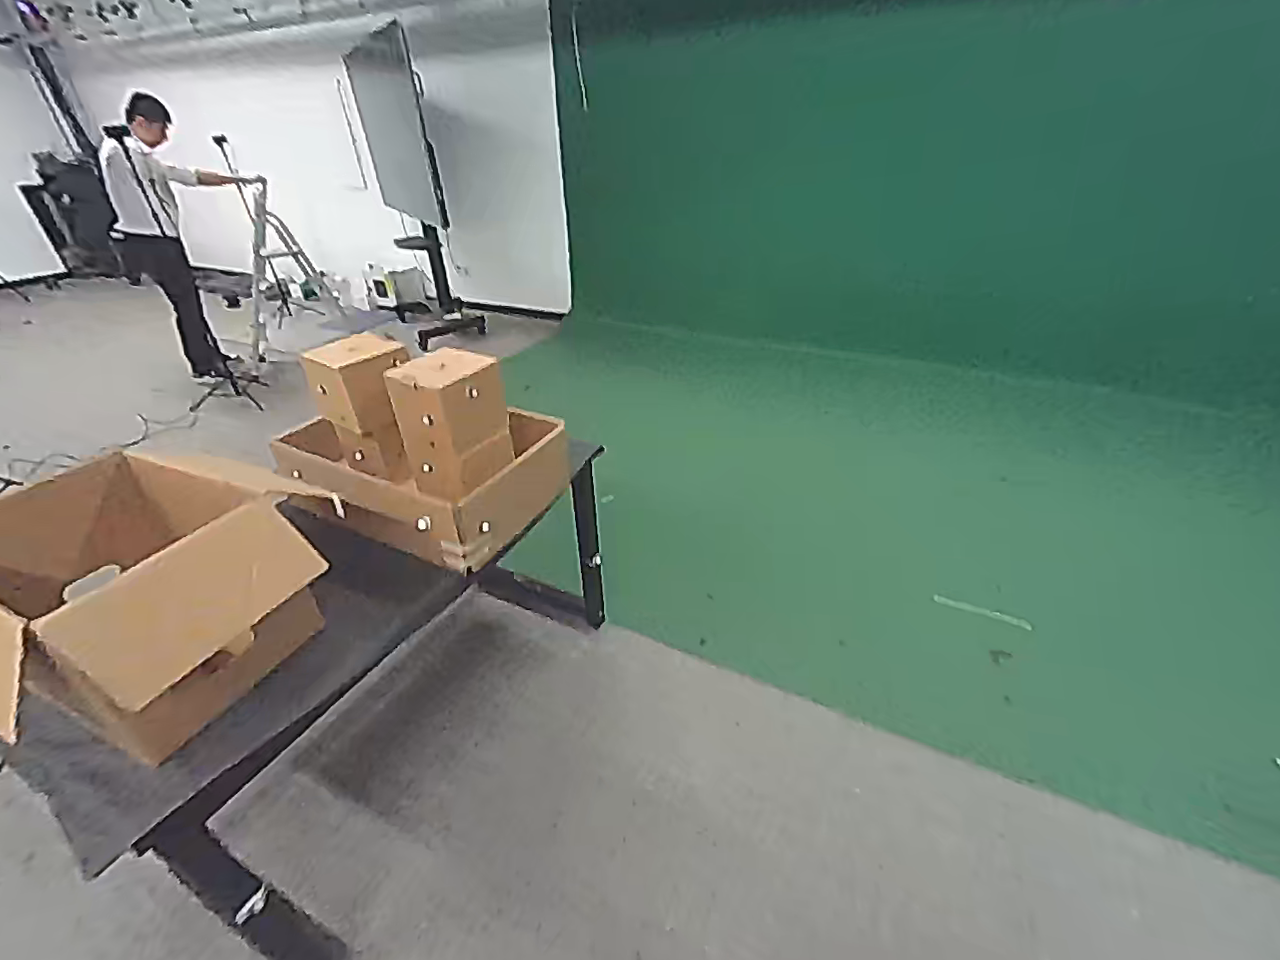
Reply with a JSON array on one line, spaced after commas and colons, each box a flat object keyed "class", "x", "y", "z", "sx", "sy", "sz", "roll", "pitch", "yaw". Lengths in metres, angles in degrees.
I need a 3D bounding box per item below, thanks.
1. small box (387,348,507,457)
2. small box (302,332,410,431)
[{"class": "small box", "x": -0.413, "y": -0.172, "z": 1.189, "sx": 0.168, "sy": 0.176, "sz": 0.179, "roll": 18, "pitch": 38, "yaw": 25}, {"class": "small box", "x": -0.655, "y": -0.237, "z": 1.291, "sx": 0.168, "sy": 0.176, "sz": 0.179, "roll": 21, "pitch": 39, "yaw": 28}]
